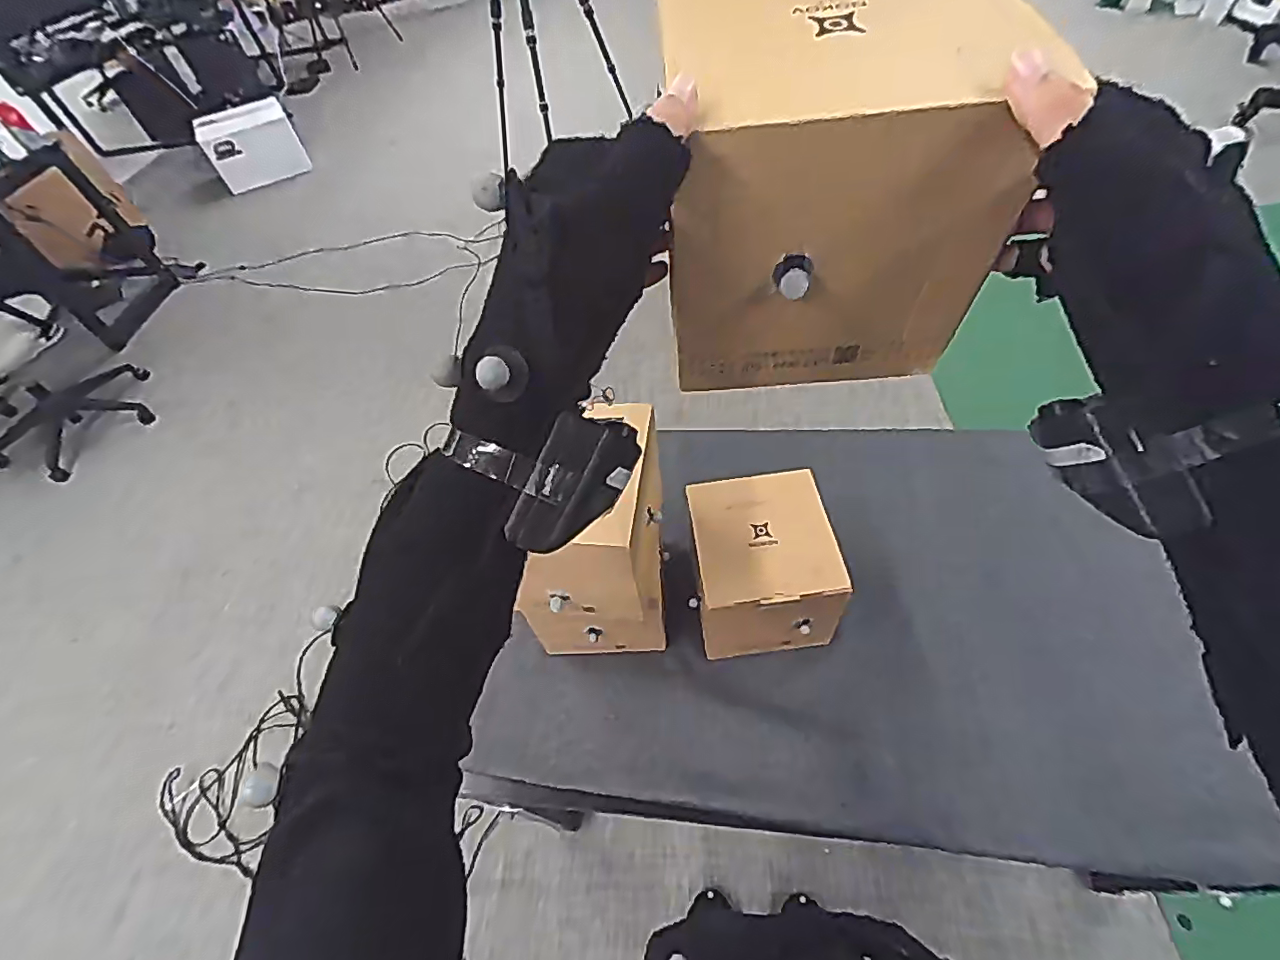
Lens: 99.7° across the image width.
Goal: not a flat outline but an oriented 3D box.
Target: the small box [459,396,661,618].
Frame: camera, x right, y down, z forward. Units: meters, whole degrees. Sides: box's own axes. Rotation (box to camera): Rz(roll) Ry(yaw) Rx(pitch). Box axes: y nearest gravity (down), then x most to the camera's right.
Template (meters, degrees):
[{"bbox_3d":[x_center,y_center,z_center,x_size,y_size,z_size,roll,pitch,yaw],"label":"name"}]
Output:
[{"bbox_3d":[-0.069,0.031,0.594,0.168,0.176,0.179,3,54,9],"label":"small box"}]

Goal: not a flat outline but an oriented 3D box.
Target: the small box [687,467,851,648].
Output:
[{"bbox_3d":[0.156,0.110,0.713,0.168,0.176,0.179,-7,52,1],"label":"small box"}]

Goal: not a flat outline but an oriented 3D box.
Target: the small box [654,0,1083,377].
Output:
[{"bbox_3d":[0.098,-0.176,0.325,0.168,0.176,0.179,-4,58,4],"label":"small box"}]
